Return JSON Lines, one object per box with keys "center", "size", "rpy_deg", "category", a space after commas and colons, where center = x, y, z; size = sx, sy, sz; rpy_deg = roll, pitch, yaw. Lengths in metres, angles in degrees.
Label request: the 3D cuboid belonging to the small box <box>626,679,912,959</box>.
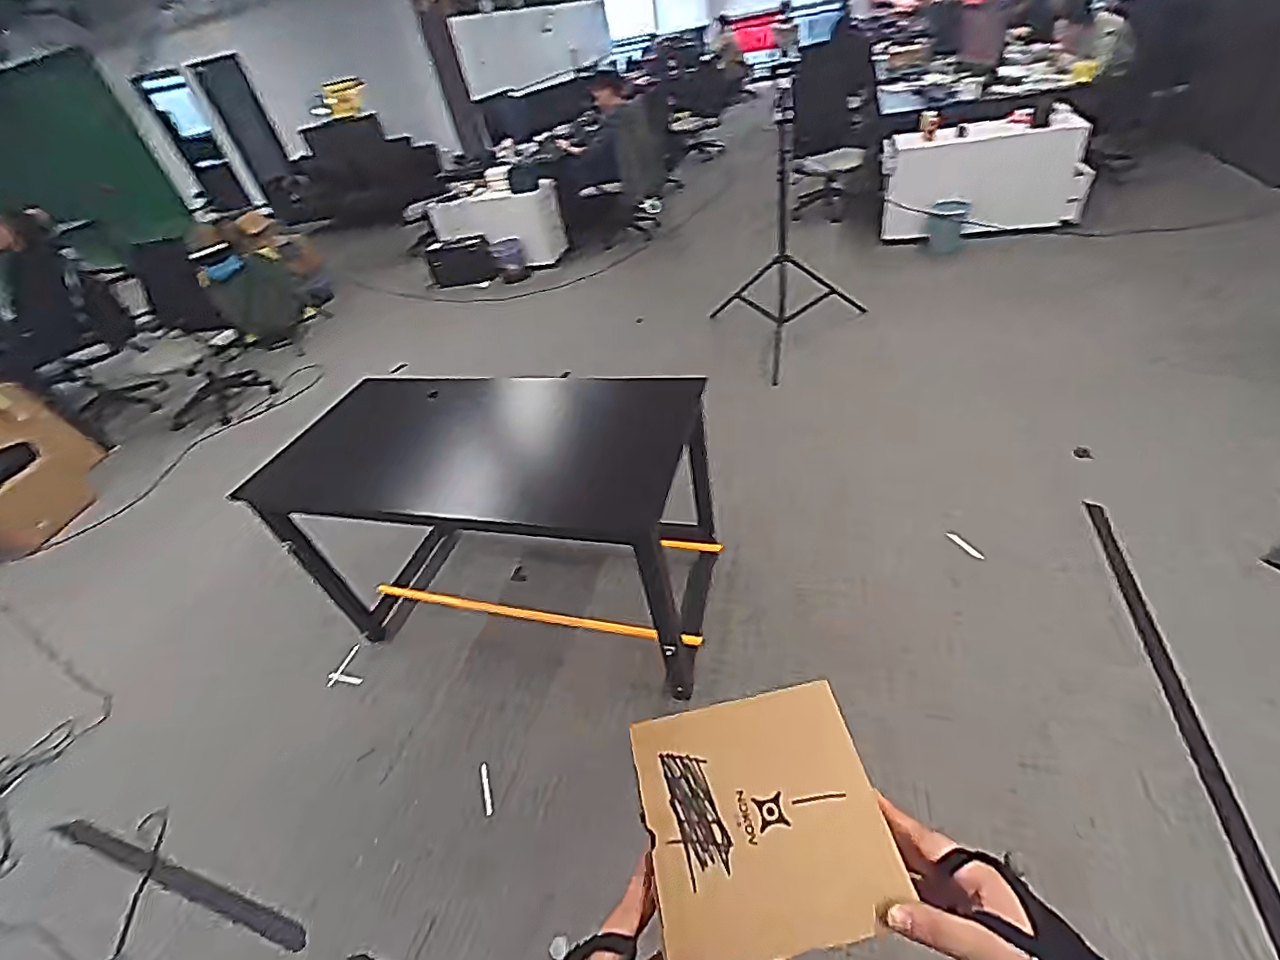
{"center": [0.096, 0.300, 0.471], "size": [0.179, 0.176, 0.168], "rpy_deg": [-12, 50, -3], "category": "small box"}
